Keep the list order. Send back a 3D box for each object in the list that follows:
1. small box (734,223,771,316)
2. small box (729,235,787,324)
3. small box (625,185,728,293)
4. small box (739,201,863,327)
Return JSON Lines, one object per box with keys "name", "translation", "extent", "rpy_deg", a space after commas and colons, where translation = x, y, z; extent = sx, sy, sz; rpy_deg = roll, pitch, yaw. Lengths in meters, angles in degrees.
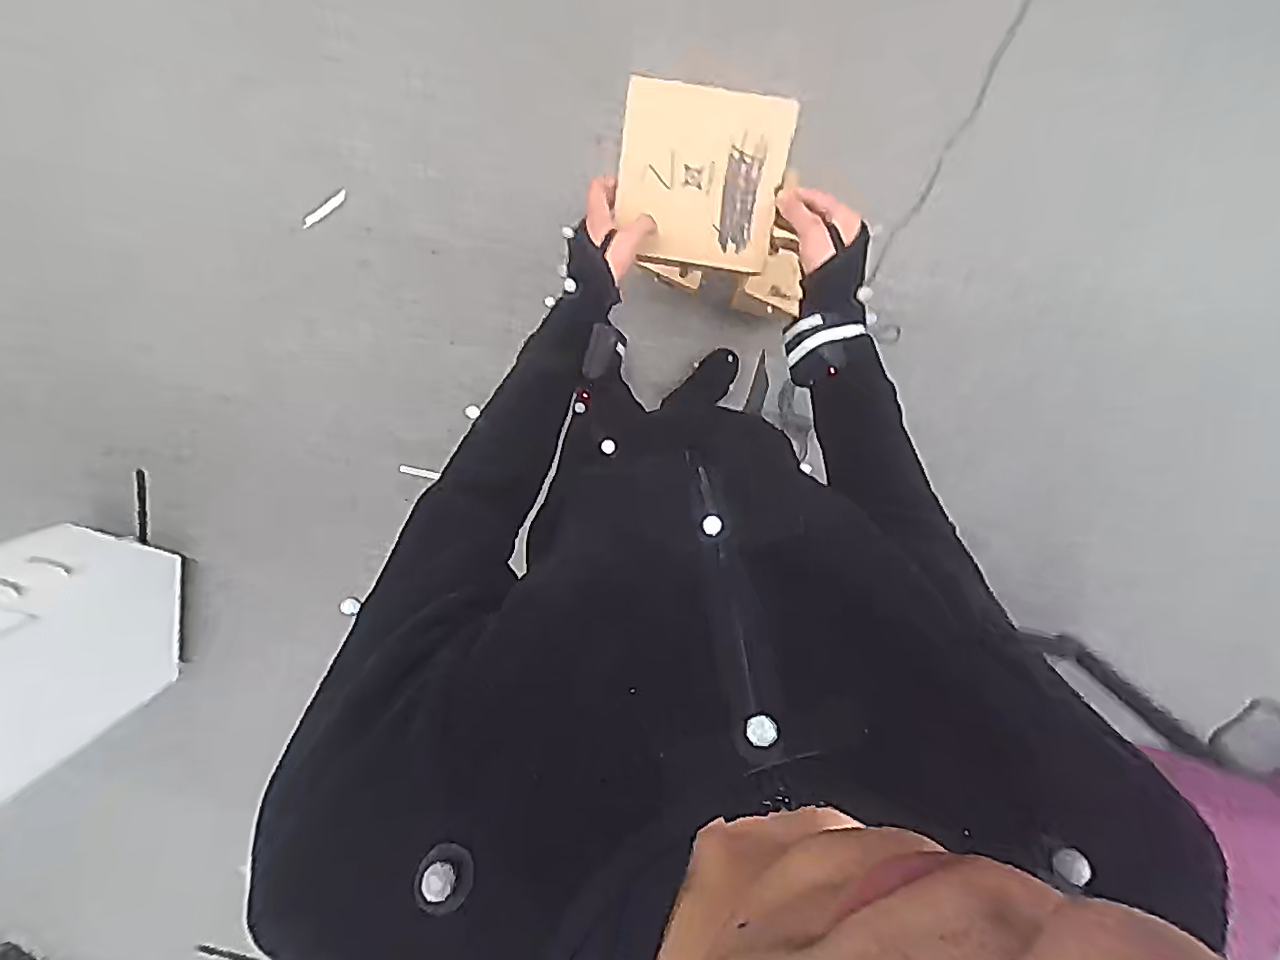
{"name": "small box", "translation": [0.326, -0.470, 1.250], "extent": [0.179, 0.176, 0.168], "rpy_deg": [17, 106, 0]}
{"name": "small box", "translation": [0.337, -0.514, 1.405], "extent": [0.168, 0.176, 0.179], "rpy_deg": [16, 107, 0]}
{"name": "small box", "translation": [0.084, -0.543, 1.242], "extent": [0.179, 0.176, 0.168], "rpy_deg": [24, 106, -2]}
{"name": "small box", "translation": [0.311, -0.424, 1.092], "extent": [0.168, 0.176, 0.179], "rpy_deg": [24, 105, -3]}
